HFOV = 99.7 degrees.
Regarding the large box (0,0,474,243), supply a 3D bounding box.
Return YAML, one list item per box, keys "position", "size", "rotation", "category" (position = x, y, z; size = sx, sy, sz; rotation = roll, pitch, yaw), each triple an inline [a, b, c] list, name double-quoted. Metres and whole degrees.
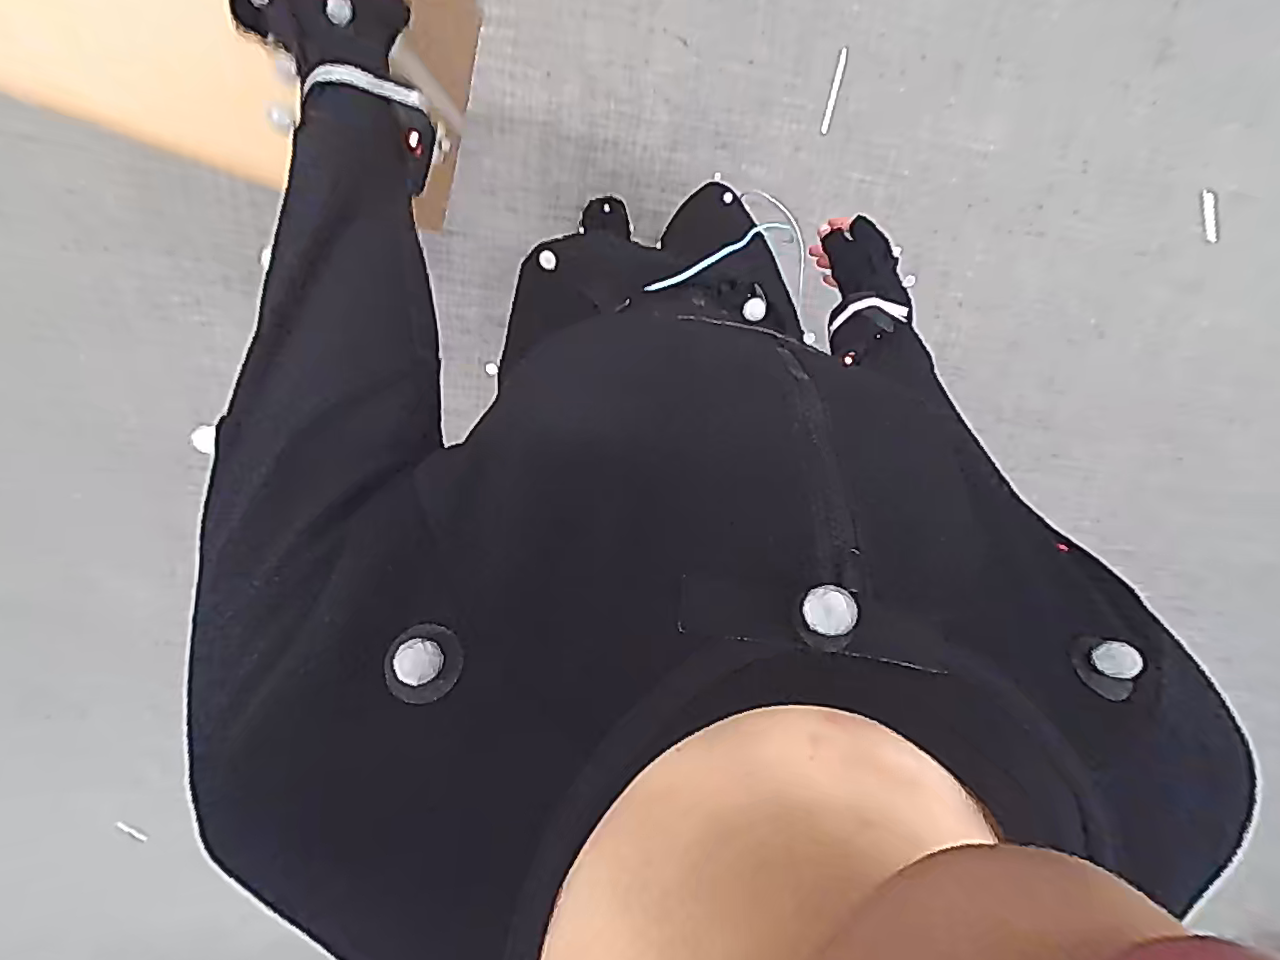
- position: [-0.400, -0.482, 0.624]
  size: [0.320, 0.408, 0.320]
  rotation: [14, 110, -14]
  category: "large box"
